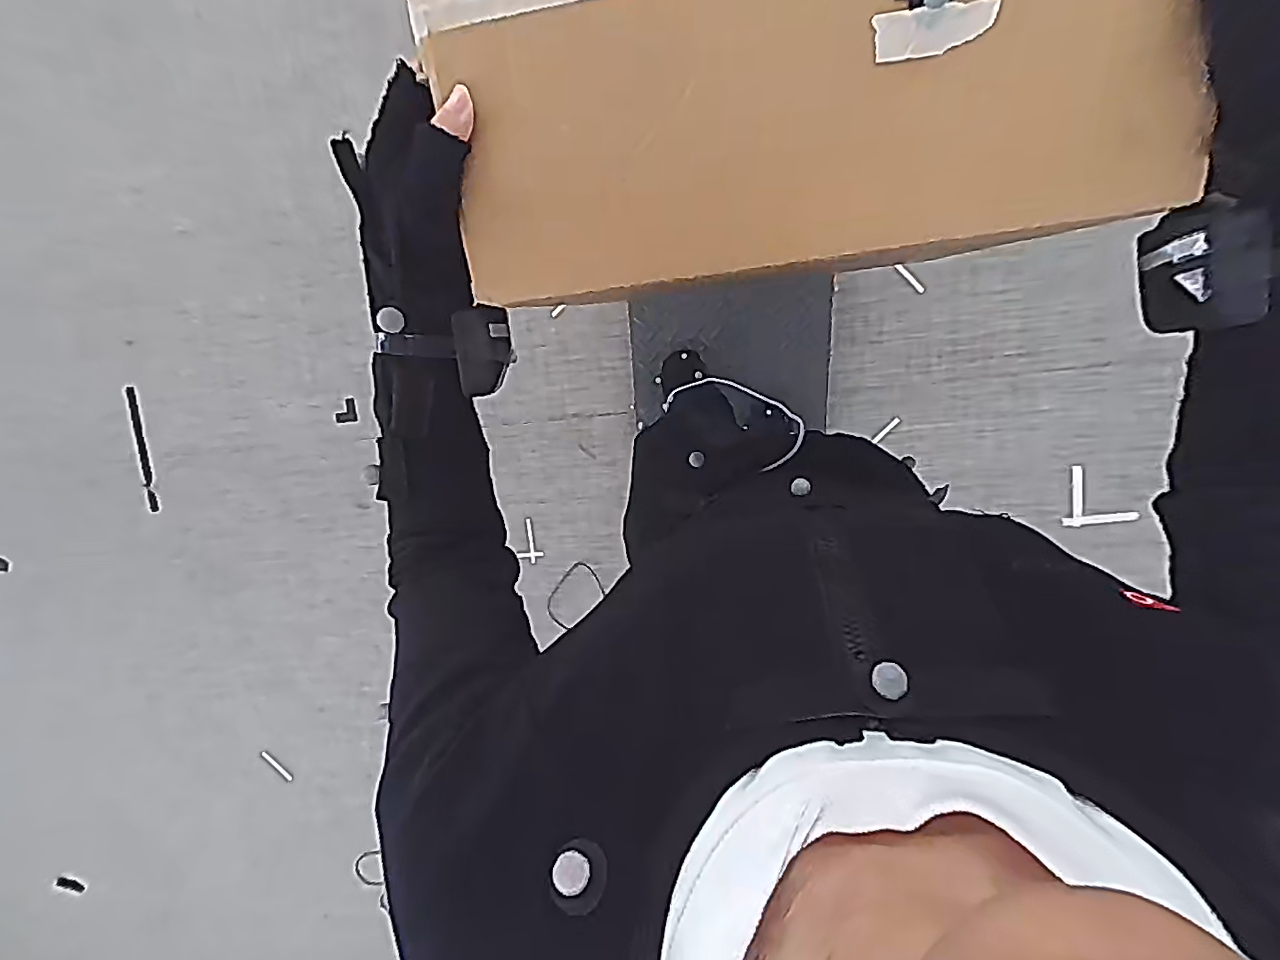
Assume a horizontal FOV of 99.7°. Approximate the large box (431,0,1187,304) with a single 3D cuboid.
[{"bbox_3d":[0.089,-0.330,0.428,0.408,0.320,0.320,-6,107,8],"label":"large box"}]
